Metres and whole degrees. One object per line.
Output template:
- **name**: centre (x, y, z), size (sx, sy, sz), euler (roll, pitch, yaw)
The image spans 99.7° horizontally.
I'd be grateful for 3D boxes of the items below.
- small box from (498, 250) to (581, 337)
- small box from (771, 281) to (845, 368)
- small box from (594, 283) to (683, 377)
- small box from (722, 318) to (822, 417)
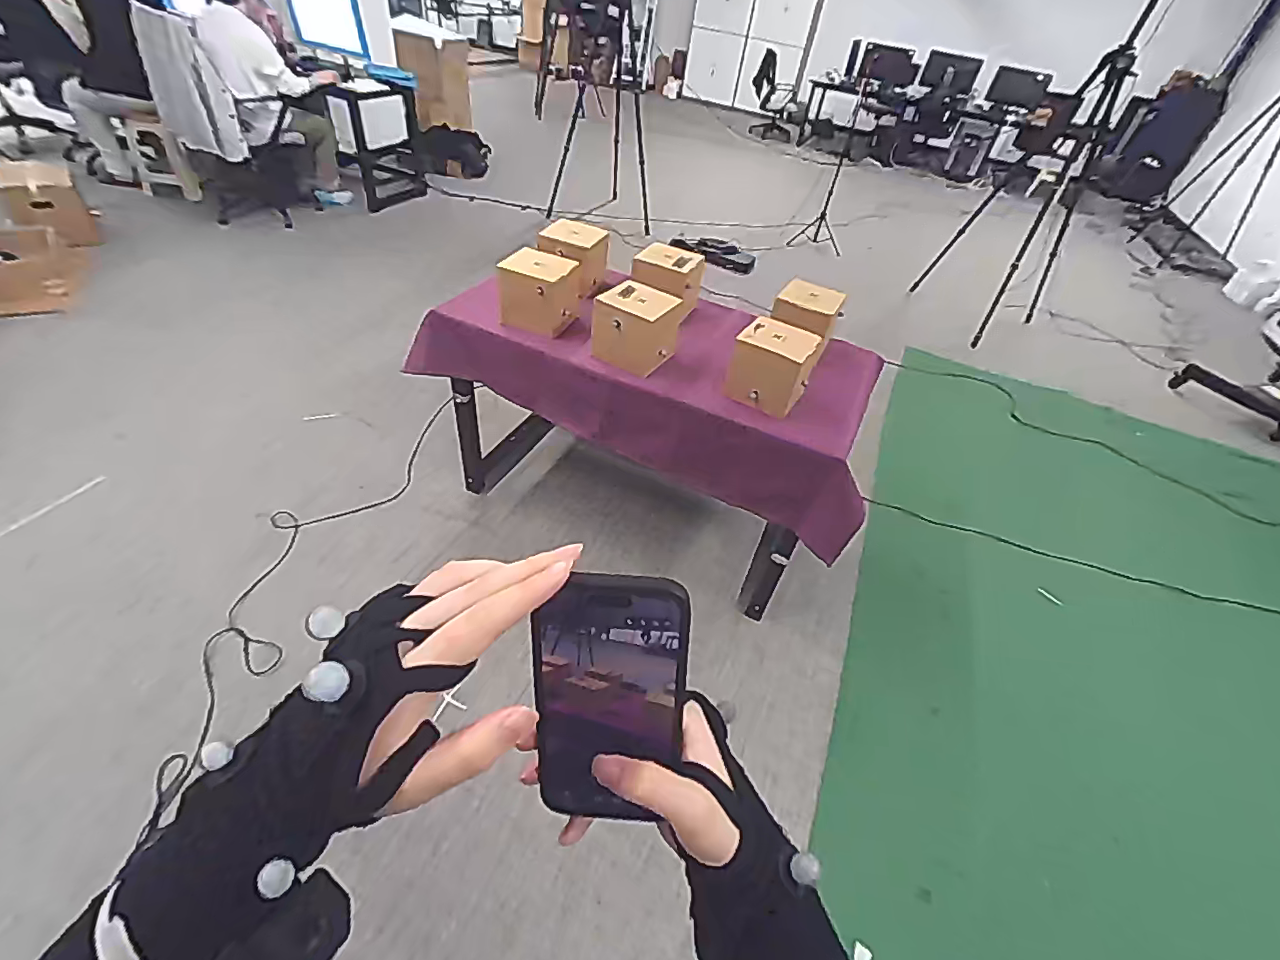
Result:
- **small box**: centre (-0.286, -0.528, 1.537), size (0.179, 0.176, 0.168), euler (19, 43, 8)
- **small box**: centre (0.483, -0.462, 1.607), size (0.168, 0.176, 0.179), euler (25, 45, 16)
- **small box**: centre (-0.010, -0.403, 1.455), size (0.179, 0.176, 0.168), euler (28, 46, 17)
- **small box**: centre (0.336, -0.285, 1.393), size (0.179, 0.176, 0.168), euler (28, 45, 18)
